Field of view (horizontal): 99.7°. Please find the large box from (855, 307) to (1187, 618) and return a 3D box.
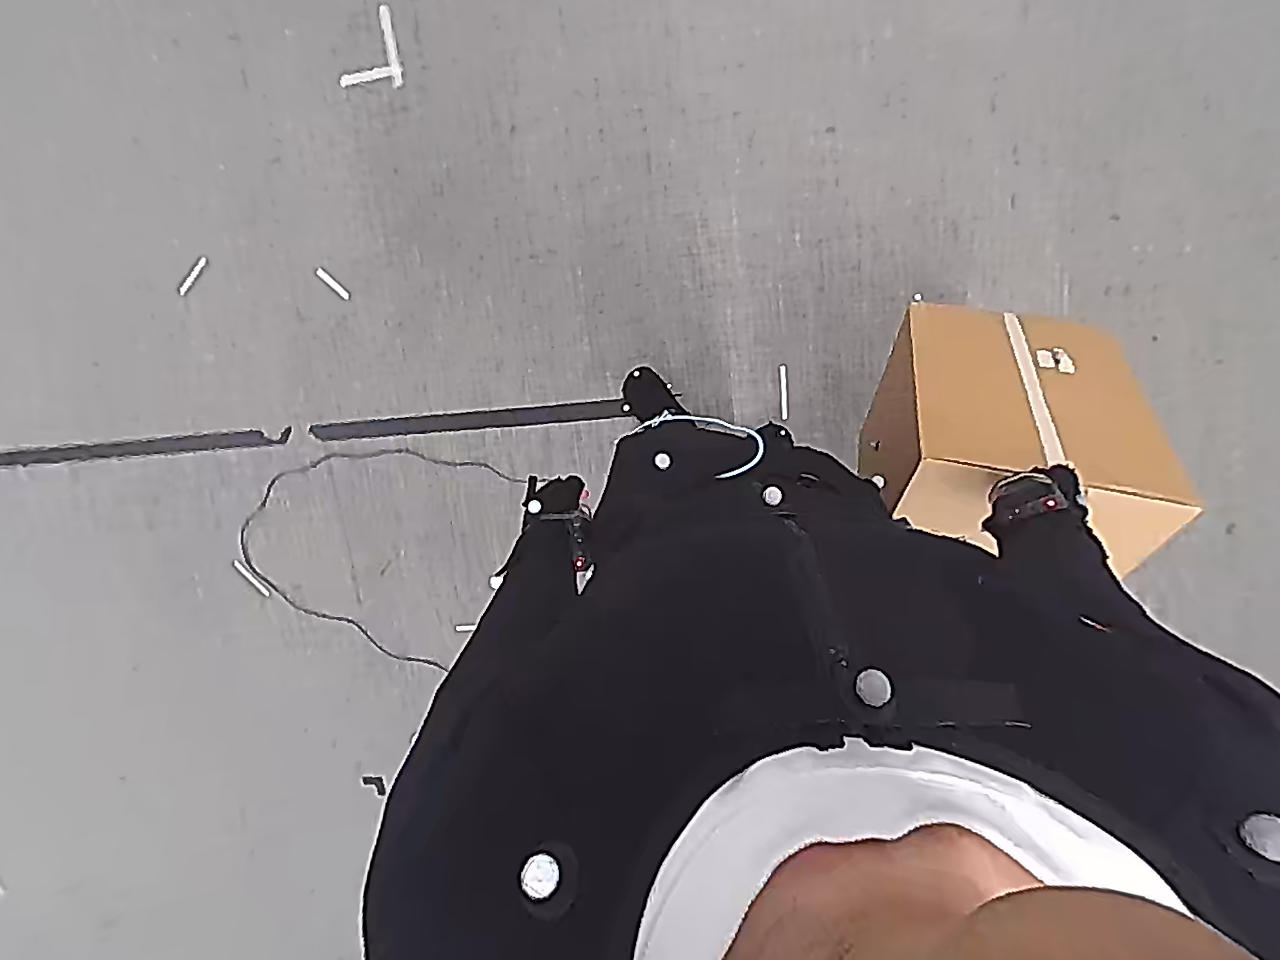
[{"bbox_3d":[0.560,-0.039,0.910,0.320,0.408,0.320,11,137,10],"label":"large box"}]
